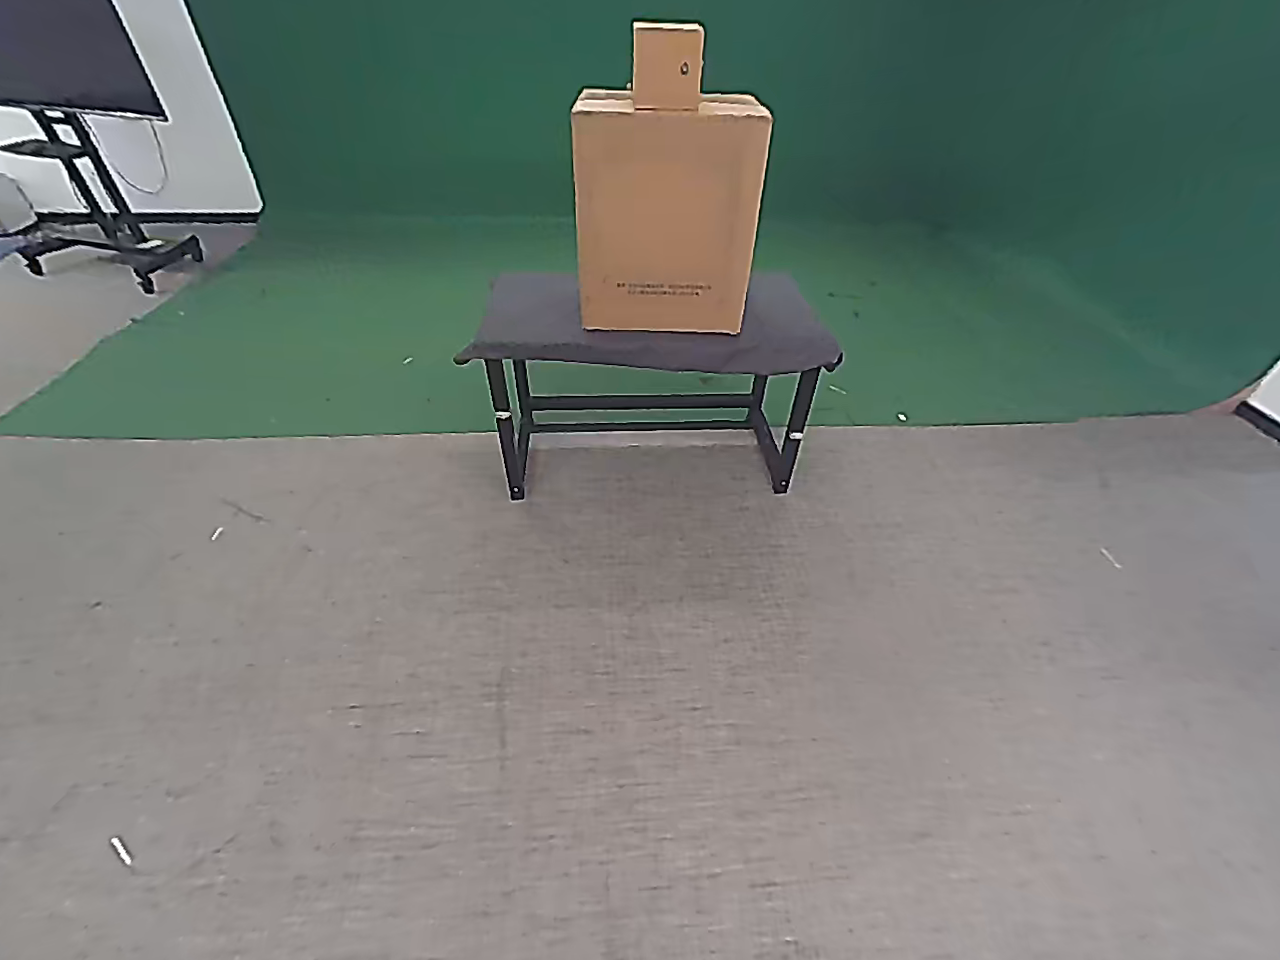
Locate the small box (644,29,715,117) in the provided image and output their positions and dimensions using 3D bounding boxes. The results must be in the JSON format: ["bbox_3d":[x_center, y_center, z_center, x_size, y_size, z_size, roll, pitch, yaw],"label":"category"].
[{"bbox_3d":[0.100,-1.087,1.446,0.179,0.176,0.168,0,43,0],"label":"small box"}]
